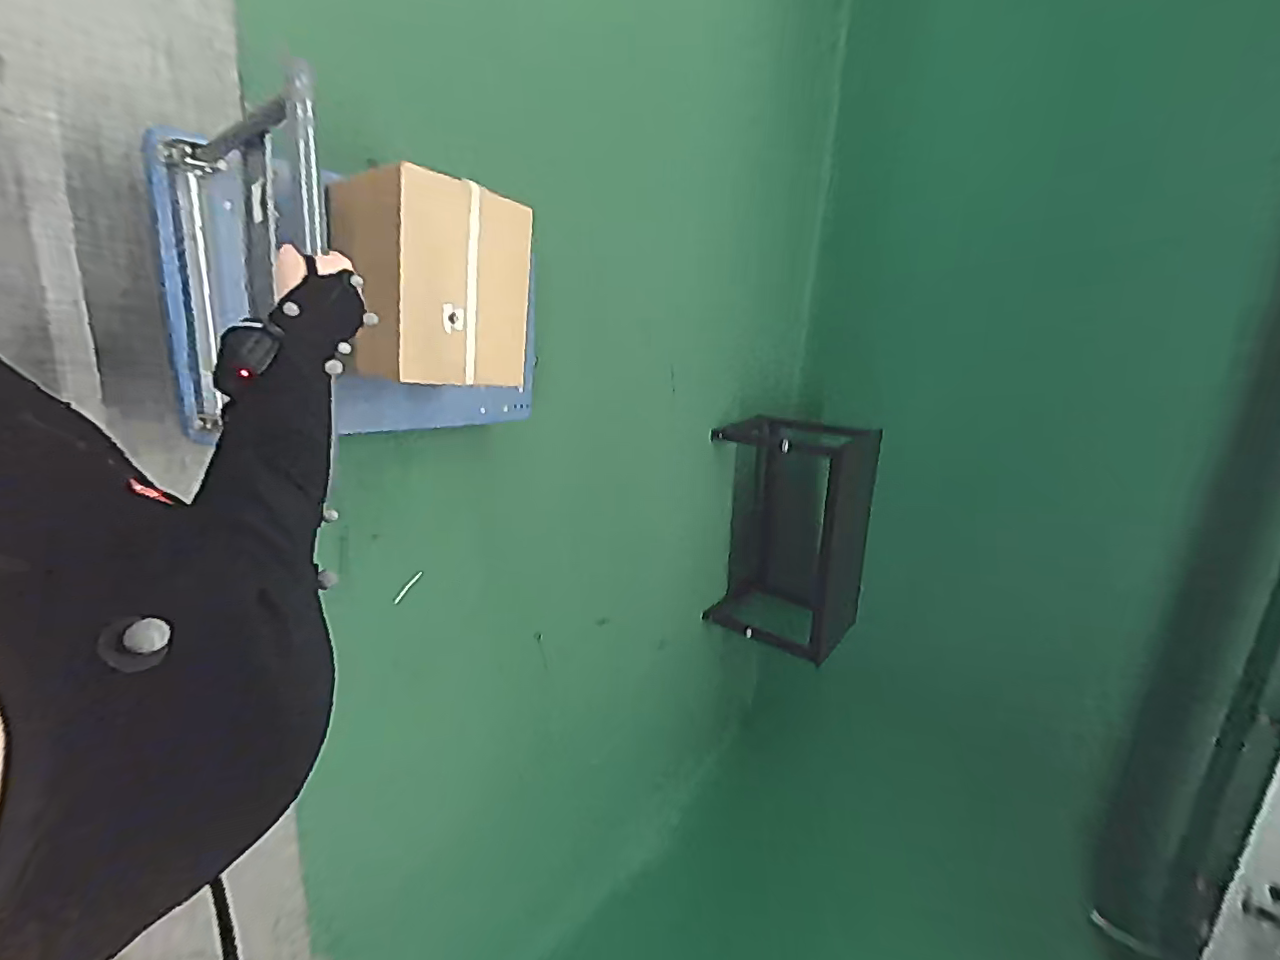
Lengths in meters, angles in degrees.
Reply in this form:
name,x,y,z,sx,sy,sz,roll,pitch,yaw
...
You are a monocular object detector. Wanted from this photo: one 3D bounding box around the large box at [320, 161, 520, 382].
name,x,y,z,sx,sy,sz,roll,pitch,yaw
large box,-0.500,-0.448,1.238,0.320,0.320,0.408,-9,109,-51
